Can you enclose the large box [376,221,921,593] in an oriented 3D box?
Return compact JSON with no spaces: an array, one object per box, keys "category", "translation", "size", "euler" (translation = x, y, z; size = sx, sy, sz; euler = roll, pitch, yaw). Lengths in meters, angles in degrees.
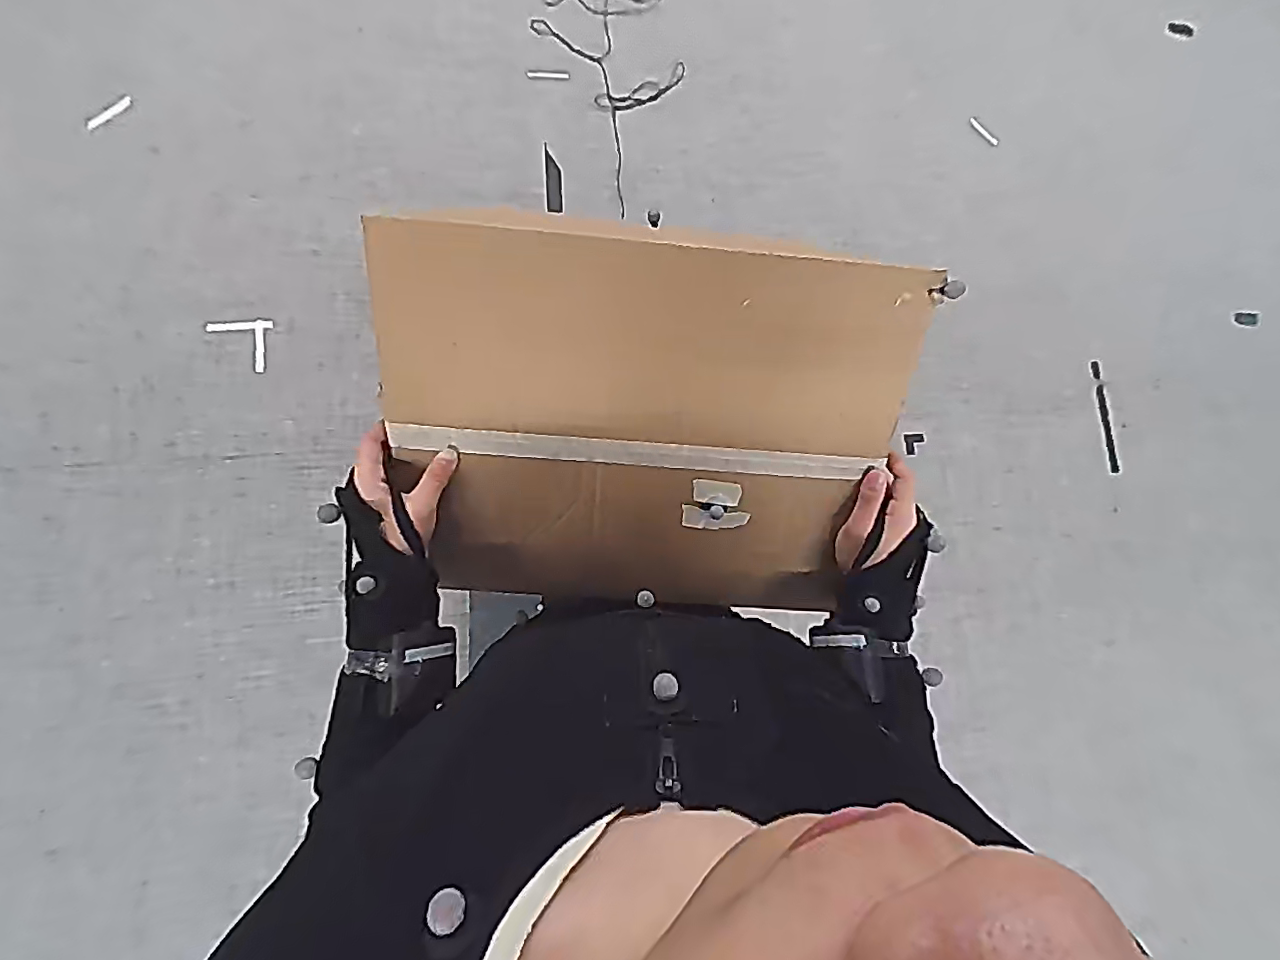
[{"category":"large box","translation":[-0.005,-0.098,0.587],"size":[0.408,0.320,0.320],"euler":[3,119,-4]}]
